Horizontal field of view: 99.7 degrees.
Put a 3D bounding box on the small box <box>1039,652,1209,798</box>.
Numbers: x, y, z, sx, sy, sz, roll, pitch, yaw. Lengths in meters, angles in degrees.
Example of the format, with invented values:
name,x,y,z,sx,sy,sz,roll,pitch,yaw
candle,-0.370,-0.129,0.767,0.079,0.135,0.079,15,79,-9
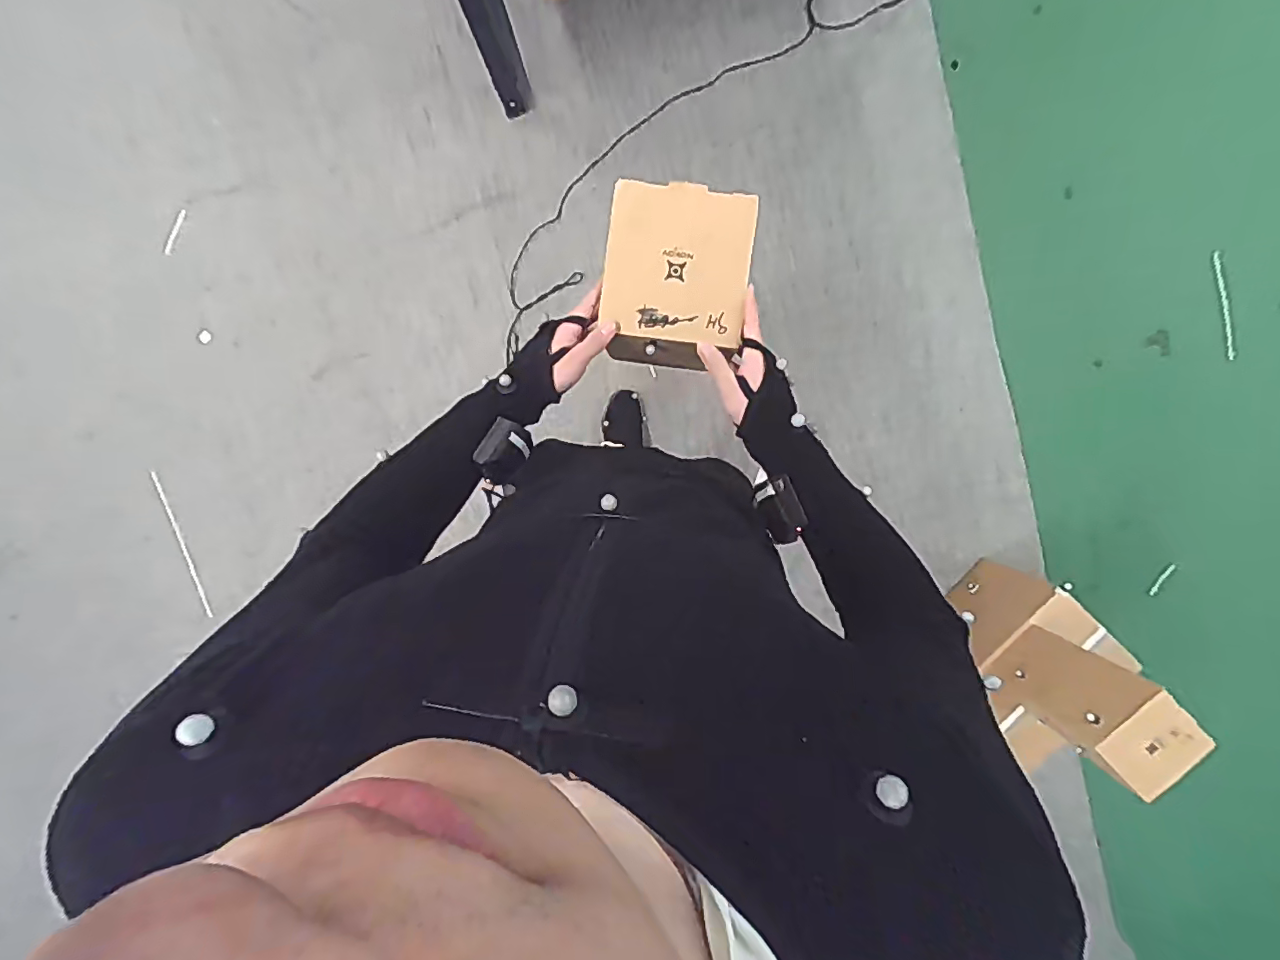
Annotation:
name,x,y,z,sx,sy,sz,roll,pitch,yaw
small box,0.983,0.498,1.123,0.168,0.176,0.179,45,95,-6

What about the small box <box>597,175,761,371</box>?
name,x,y,z,sx,sy,sz,roll,pitch,yaw
small box,0.045,-0.248,0.686,0.168,0.176,0.179,8,93,2

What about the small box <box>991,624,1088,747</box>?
name,x,y,z,sx,sy,sz,roll,pitch,yaw
small box,0.983,0.480,1.287,0.168,0.176,0.179,43,94,-5
